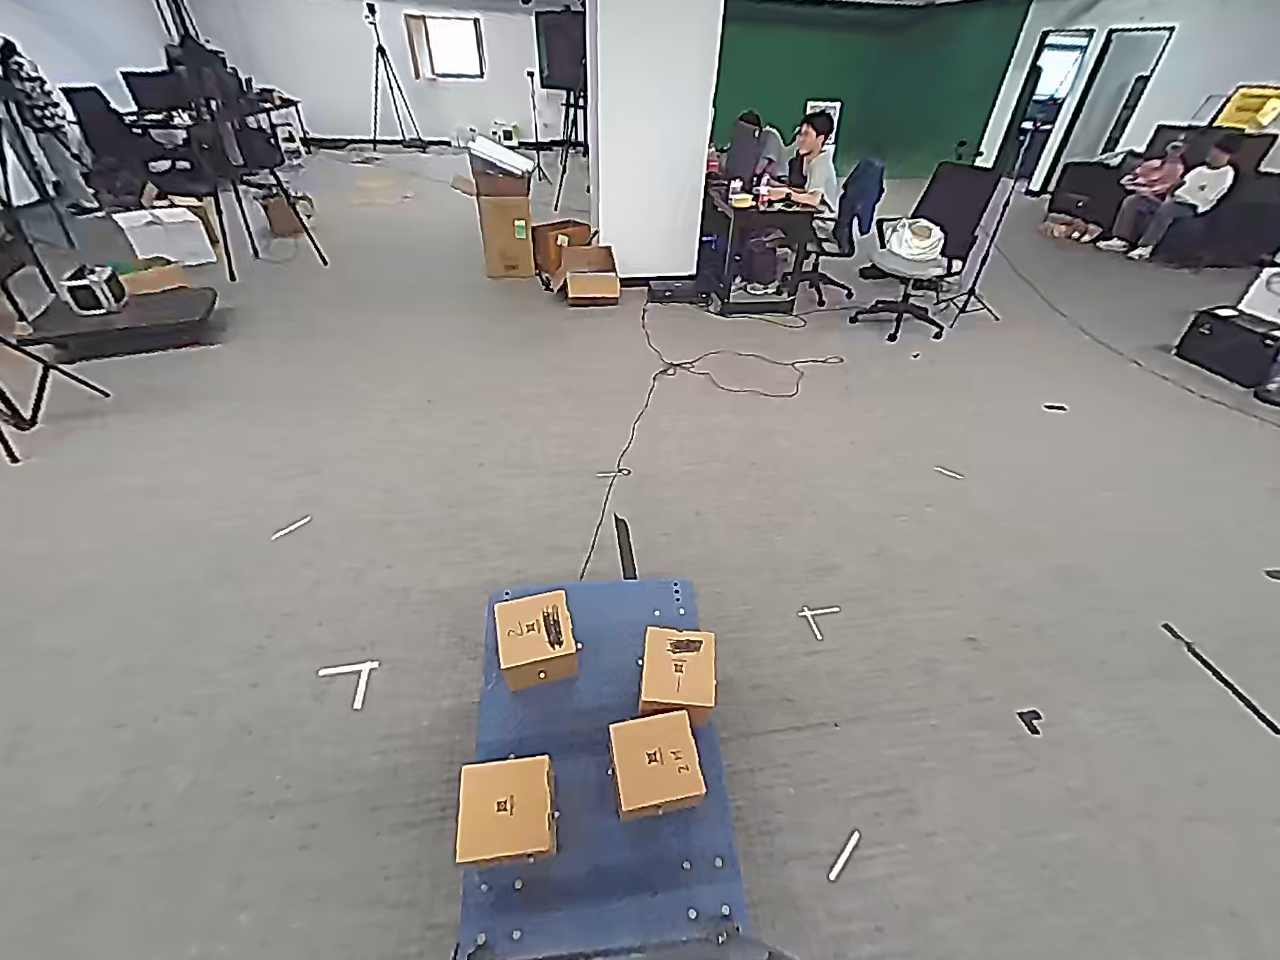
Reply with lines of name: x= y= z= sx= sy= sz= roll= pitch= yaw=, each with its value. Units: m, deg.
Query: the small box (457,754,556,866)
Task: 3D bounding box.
small box: x=-0.269 y=0.686 z=1.122 sx=0.179 sy=0.176 sz=0.168 roll=-3 pitch=52 yaw=-8

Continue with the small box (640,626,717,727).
small box: x=0.092 y=0.477 z=1.308 sx=0.168 sy=0.176 sz=0.179 roll=6 pitch=52 yaw=2

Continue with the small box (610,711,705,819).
small box: x=0.032 y=0.628 z=1.185 sx=0.179 sy=0.176 sz=0.168 roll=-7 pitch=53 yaw=-8
